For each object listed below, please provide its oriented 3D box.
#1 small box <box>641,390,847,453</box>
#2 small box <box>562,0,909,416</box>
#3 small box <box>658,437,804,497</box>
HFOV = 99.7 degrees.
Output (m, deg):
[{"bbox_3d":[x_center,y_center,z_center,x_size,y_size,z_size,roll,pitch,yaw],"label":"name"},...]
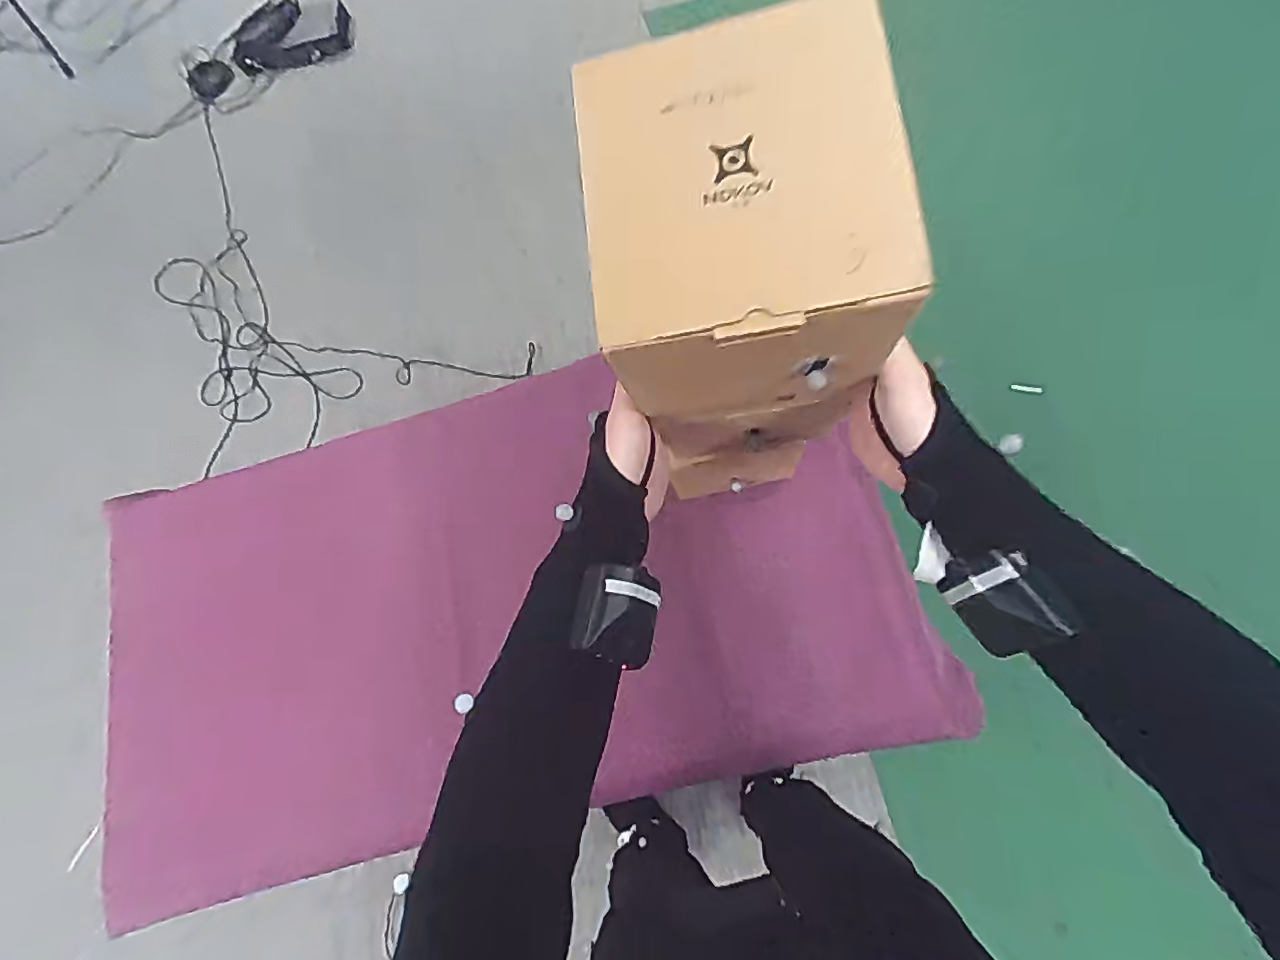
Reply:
[{"bbox_3d":[0.090,-0.128,0.518,0.168,0.176,0.179,-9,81,11],"label":"small box"},{"bbox_3d":[0.059,-0.148,0.358,0.168,0.176,0.179,-7,80,11],"label":"small box"},{"bbox_3d":[0.107,-0.090,0.719,0.168,0.176,0.179,-12,75,8],"label":"small box"}]
